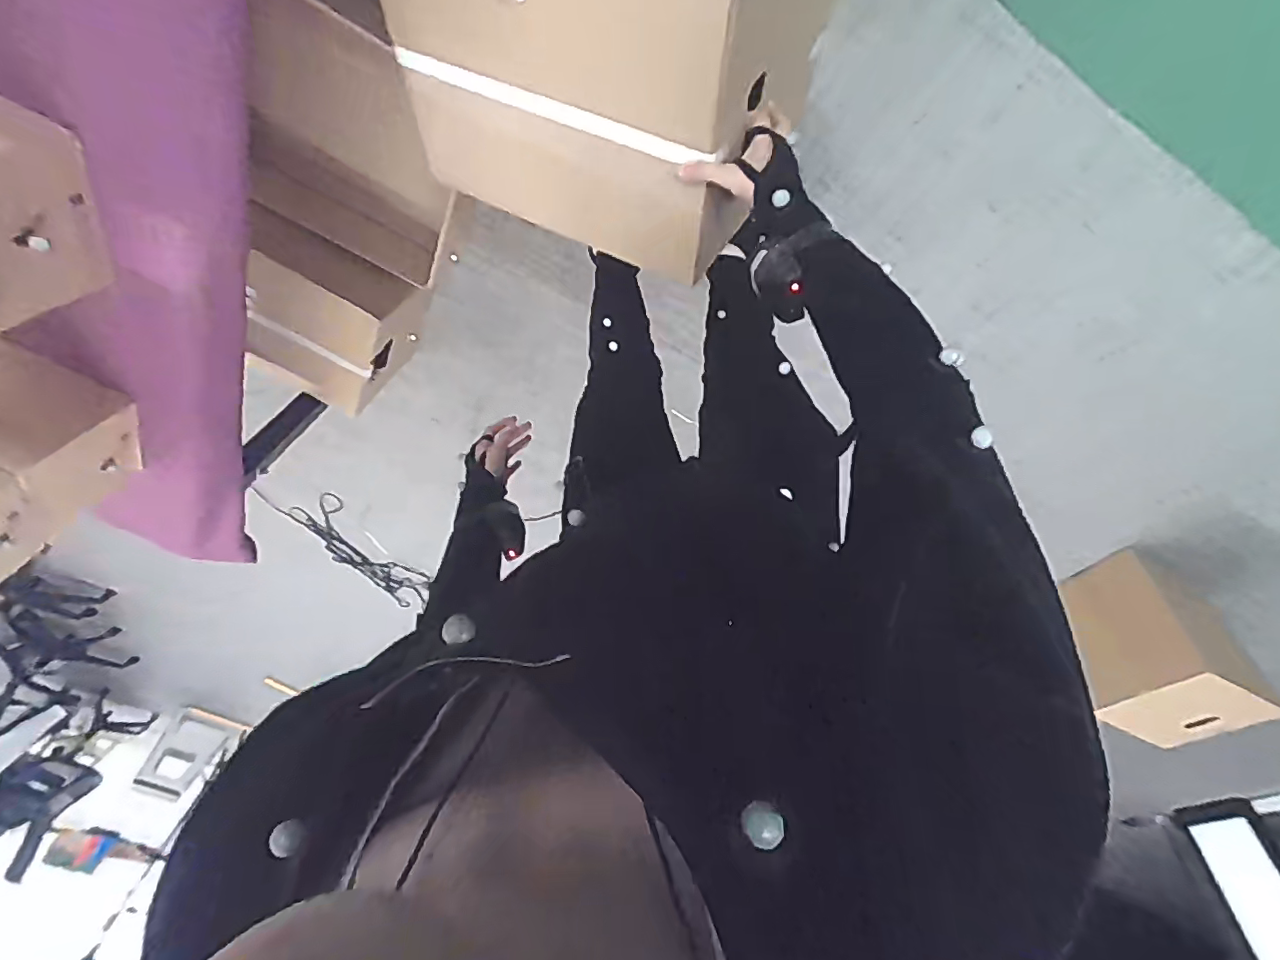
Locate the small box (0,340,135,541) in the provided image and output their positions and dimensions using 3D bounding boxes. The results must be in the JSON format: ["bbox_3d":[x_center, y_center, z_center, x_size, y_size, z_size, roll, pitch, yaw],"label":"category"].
[{"bbox_3d":[-0.832,-0.058,0.715,0.179,0.176,0.168,29,130,-15],"label":"small box"}]

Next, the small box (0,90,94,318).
[{"bbox_3d":[-0.657,-0.269,0.488,0.179,0.176,0.168,25,131,-11],"label":"small box"}]
